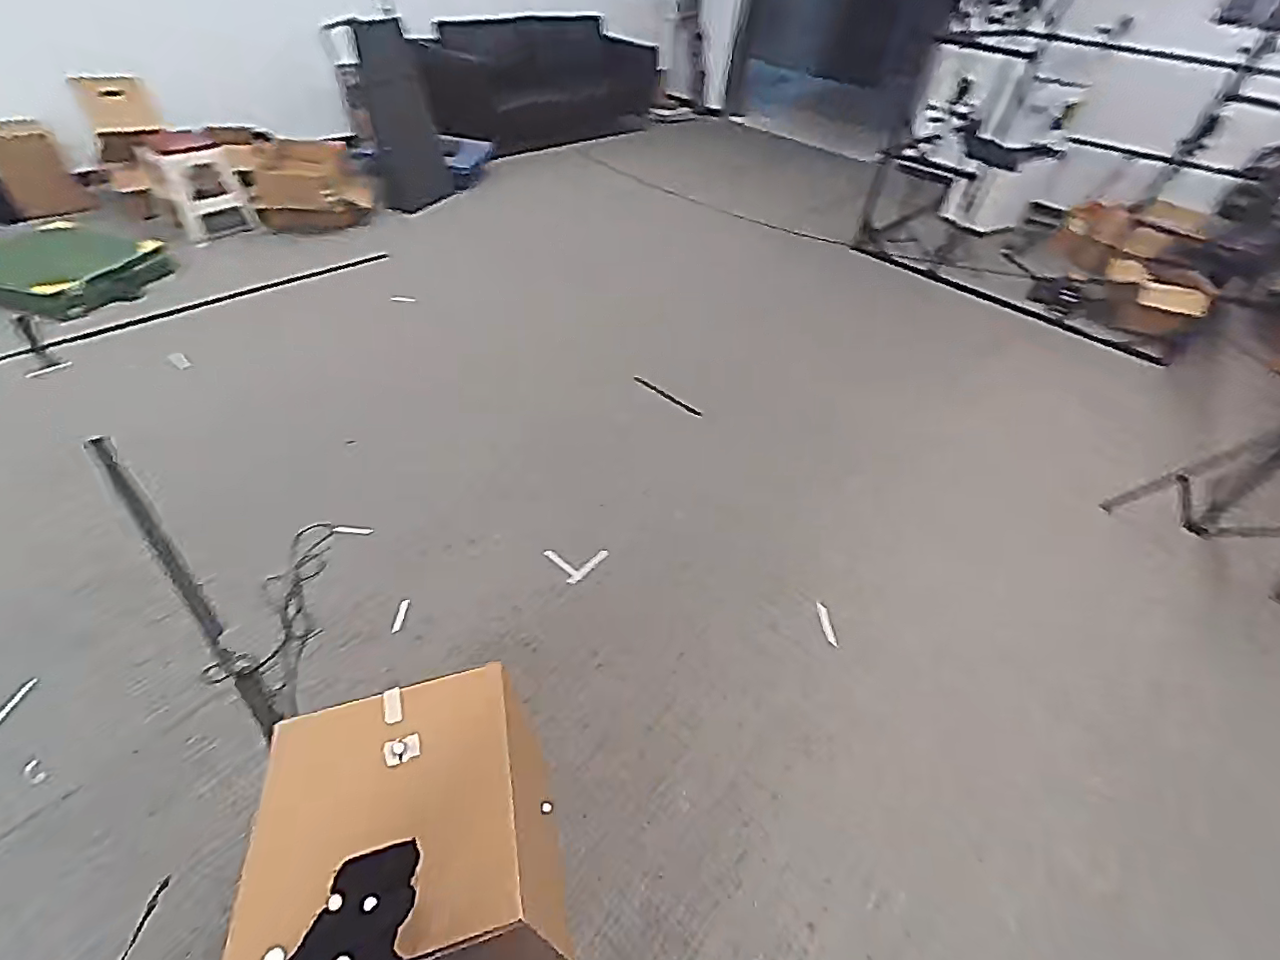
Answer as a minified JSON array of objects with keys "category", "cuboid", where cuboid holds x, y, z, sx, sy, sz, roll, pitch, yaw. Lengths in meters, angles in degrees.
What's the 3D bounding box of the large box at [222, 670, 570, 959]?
[{"category":"large box","cuboid":[-0.315,0.547,0.798,0.320,0.408,0.320,-14,44,-9]}]
